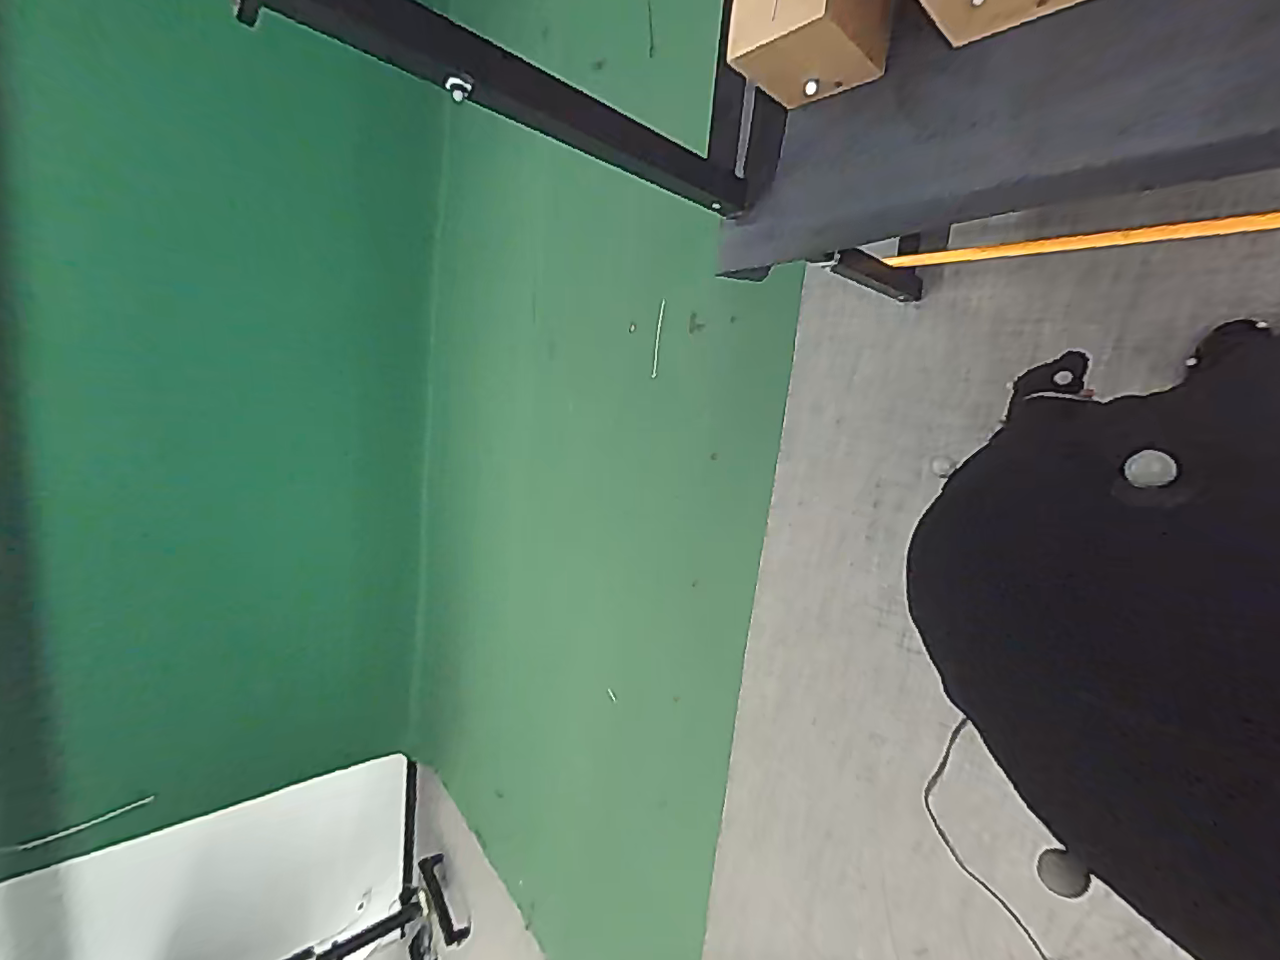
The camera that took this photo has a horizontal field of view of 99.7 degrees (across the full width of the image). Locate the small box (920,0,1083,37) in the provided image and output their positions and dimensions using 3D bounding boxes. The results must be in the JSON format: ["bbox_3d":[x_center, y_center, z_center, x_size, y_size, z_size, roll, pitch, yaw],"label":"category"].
[{"bbox_3d":[0.421,-0.640,0.597,0.168,0.176,0.179,16,103,47],"label":"small box"}]

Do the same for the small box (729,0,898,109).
[{"bbox_3d":[0.255,-0.686,0.782,0.168,0.176,0.179,17,104,48],"label":"small box"}]
